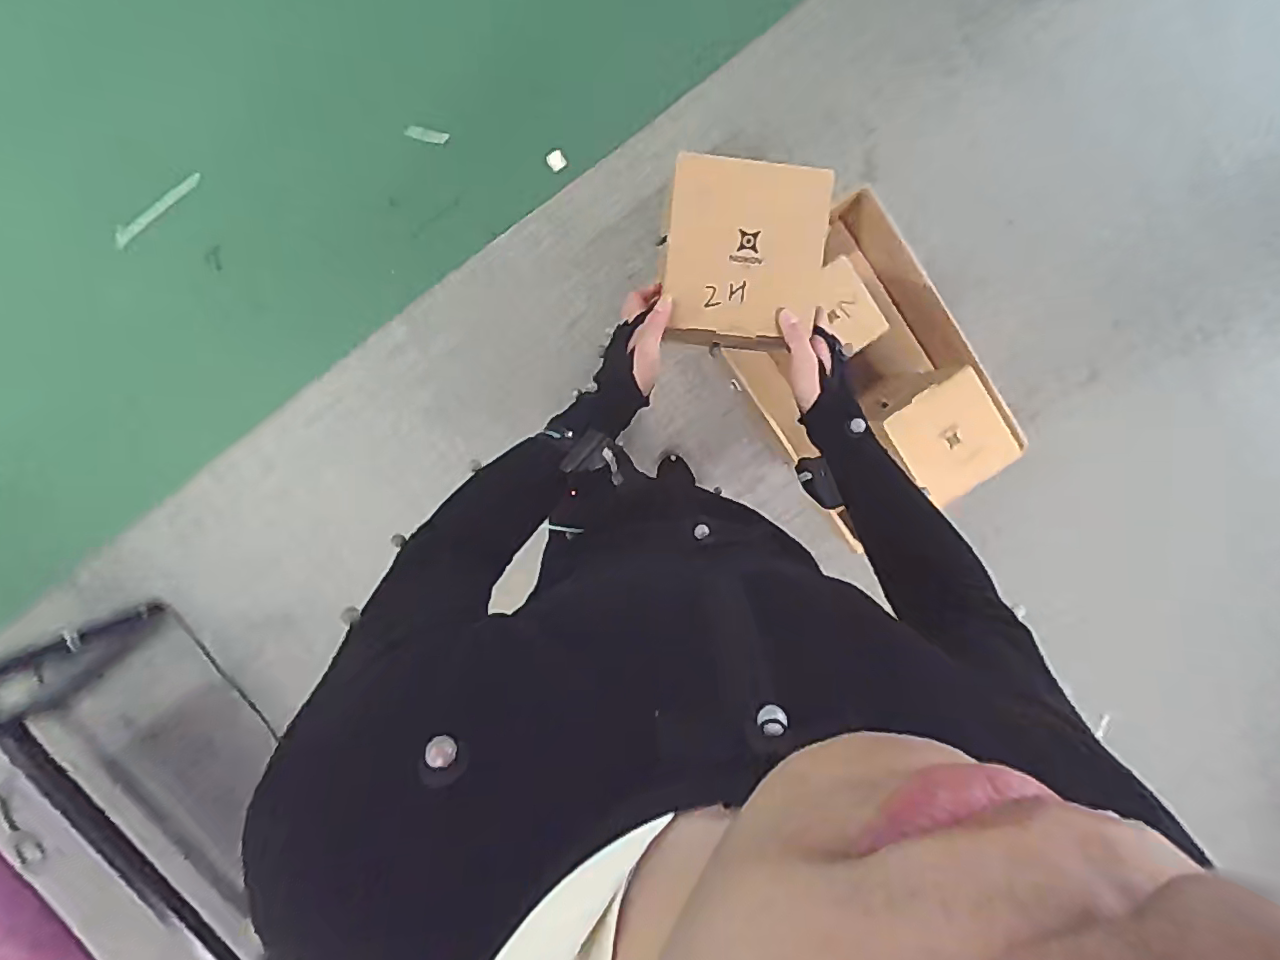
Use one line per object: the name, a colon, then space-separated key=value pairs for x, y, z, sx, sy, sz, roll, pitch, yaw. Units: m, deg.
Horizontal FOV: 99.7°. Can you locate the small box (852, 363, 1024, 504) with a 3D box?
small box: x=0.504 y=-0.082 z=0.944 sx=0.168 sy=0.176 sz=0.179 roll=-32 pitch=97 yaw=5

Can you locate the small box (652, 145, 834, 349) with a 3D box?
small box: x=0.106 y=-0.256 z=0.635 sx=0.168 sy=0.176 sz=0.179 roll=4 pitch=100 yaw=-4
